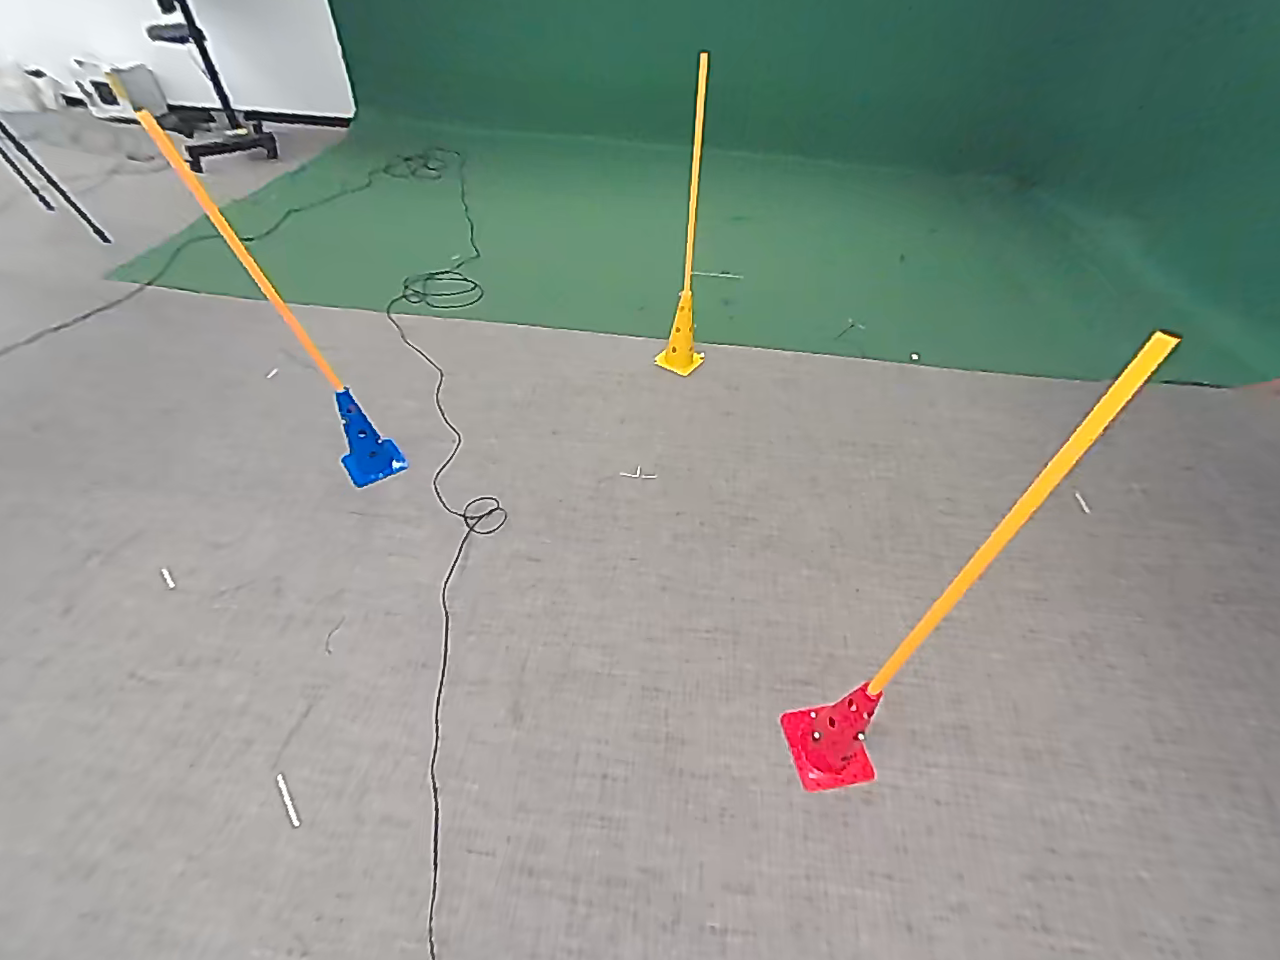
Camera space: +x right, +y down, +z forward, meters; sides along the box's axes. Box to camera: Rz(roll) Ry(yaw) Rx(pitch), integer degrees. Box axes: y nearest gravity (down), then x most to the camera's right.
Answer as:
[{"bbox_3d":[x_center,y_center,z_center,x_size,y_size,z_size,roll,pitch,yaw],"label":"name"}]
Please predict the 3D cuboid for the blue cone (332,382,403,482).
[{"bbox_3d":[-1.014,-0.186,1.938,0.193,0.380,0.192,-30,56,-26],"label":"blue cone"}]
